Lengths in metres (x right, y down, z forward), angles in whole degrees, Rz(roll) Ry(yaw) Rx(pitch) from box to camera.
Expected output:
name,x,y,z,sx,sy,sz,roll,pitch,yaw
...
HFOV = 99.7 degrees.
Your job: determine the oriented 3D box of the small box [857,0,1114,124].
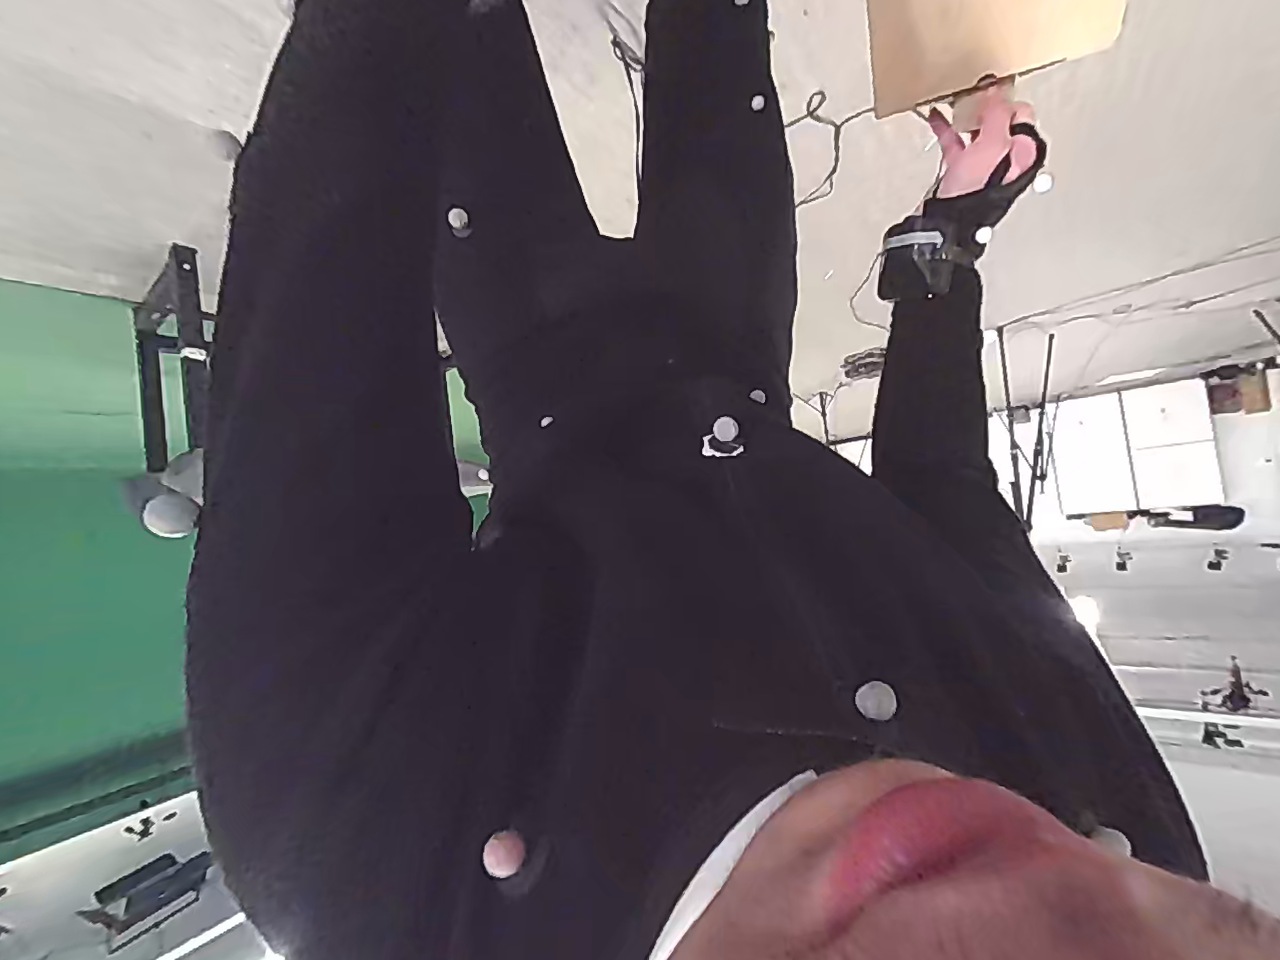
name,x,y,z,sx,sy,sz,roll,pitch,yaw
small box,0.266,-0.435,0.432,0.168,0.176,0.179,-4,136,30
